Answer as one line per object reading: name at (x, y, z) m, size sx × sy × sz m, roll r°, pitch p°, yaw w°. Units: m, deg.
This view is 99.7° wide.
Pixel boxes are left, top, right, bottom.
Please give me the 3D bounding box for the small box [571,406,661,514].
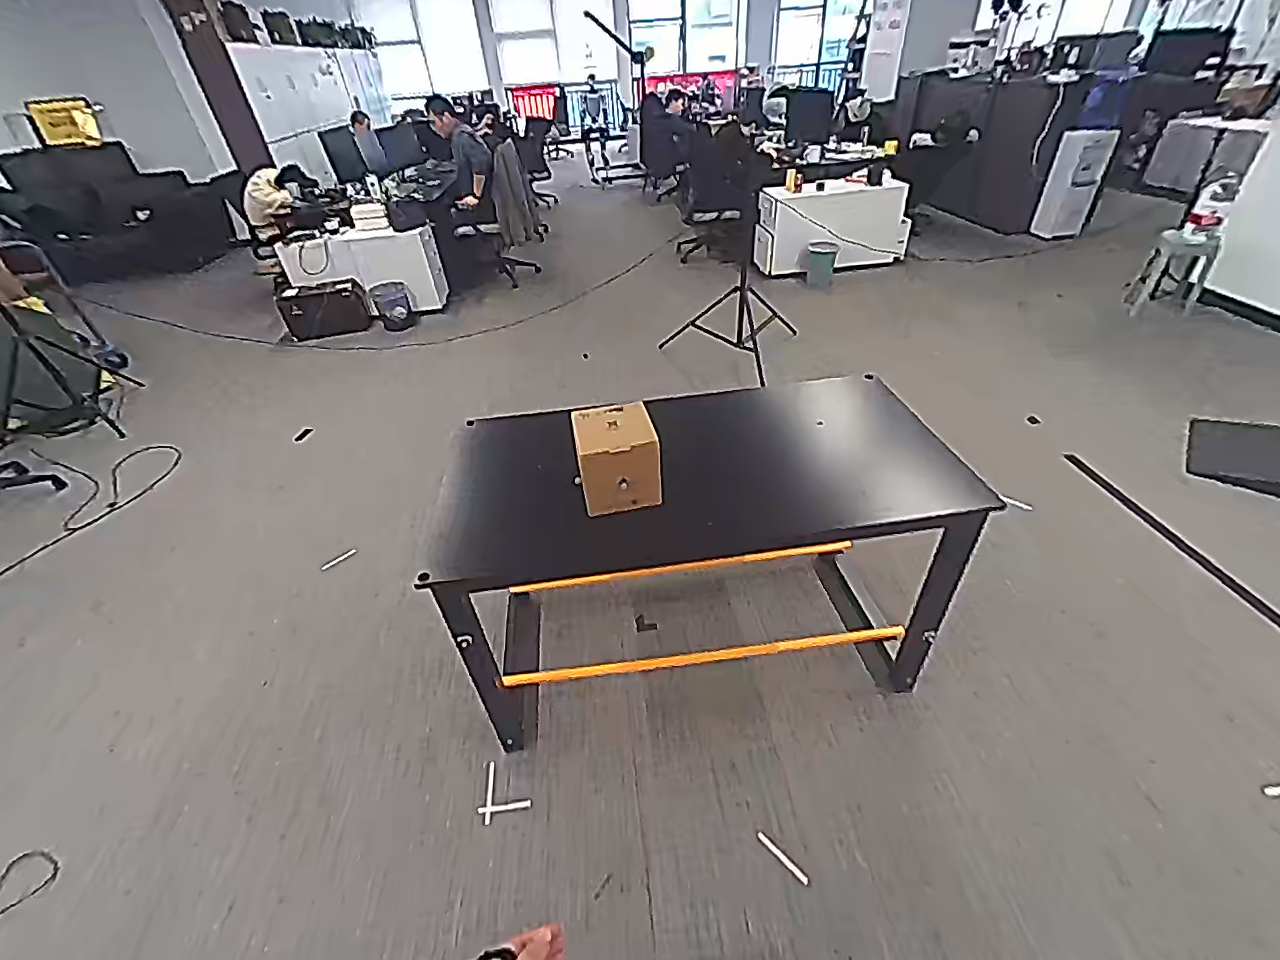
small box at (-0.053, -0.039, 1.204) m, size 0.168 × 0.176 × 0.179 m, roll -10°, pitch 38°, yaw -6°
